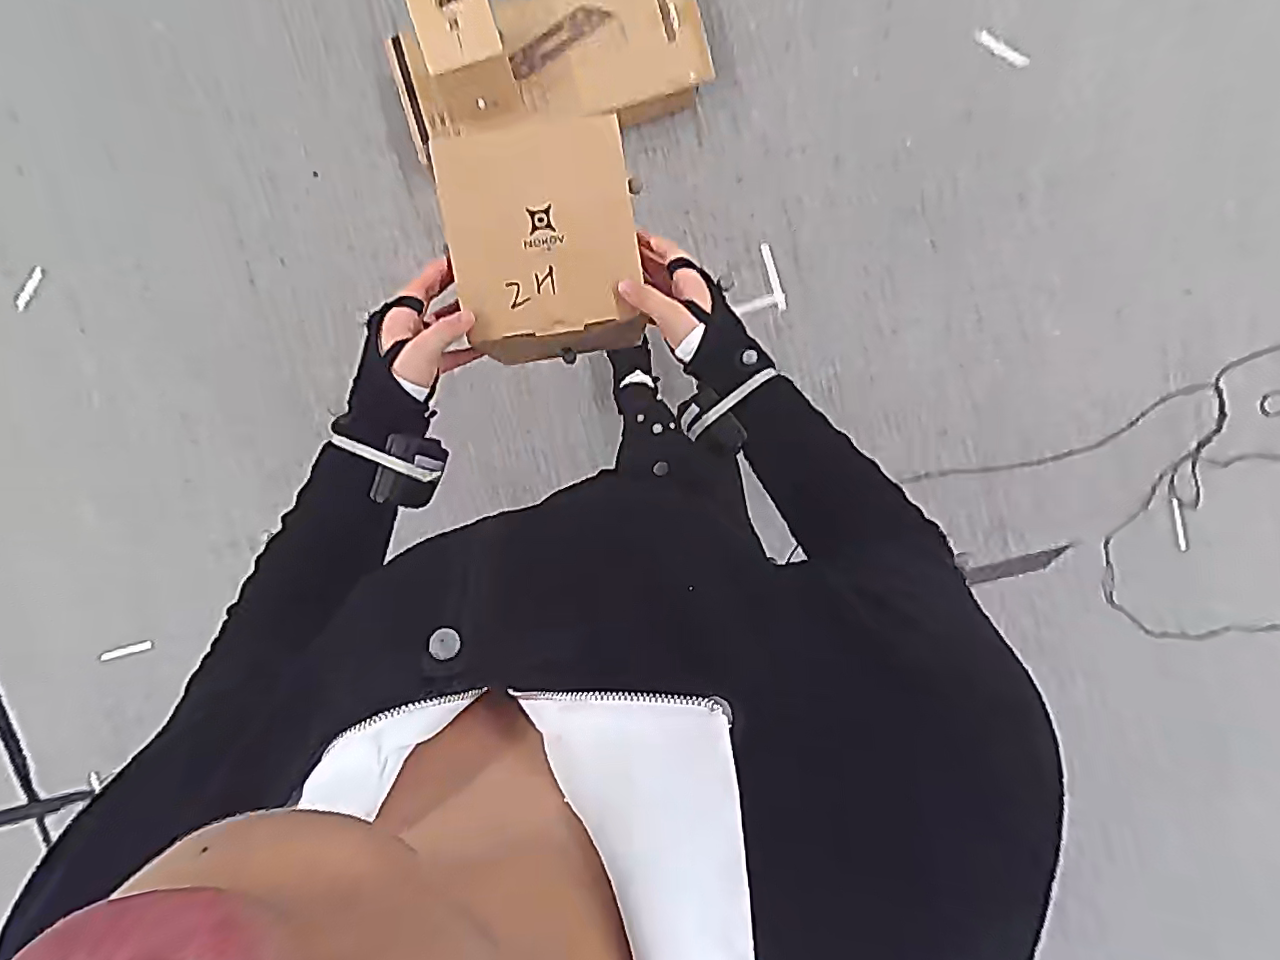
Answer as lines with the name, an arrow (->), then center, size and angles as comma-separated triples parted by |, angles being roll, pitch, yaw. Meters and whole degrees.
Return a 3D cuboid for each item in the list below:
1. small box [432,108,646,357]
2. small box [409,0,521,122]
small box -> -0.092, -0.236, 0.557 | 0.168, 0.176, 0.179 | -10, 96, -2
small box -> -0.383, -0.953, 1.208 | 0.168, 0.176, 0.179 | -17, 95, 2
